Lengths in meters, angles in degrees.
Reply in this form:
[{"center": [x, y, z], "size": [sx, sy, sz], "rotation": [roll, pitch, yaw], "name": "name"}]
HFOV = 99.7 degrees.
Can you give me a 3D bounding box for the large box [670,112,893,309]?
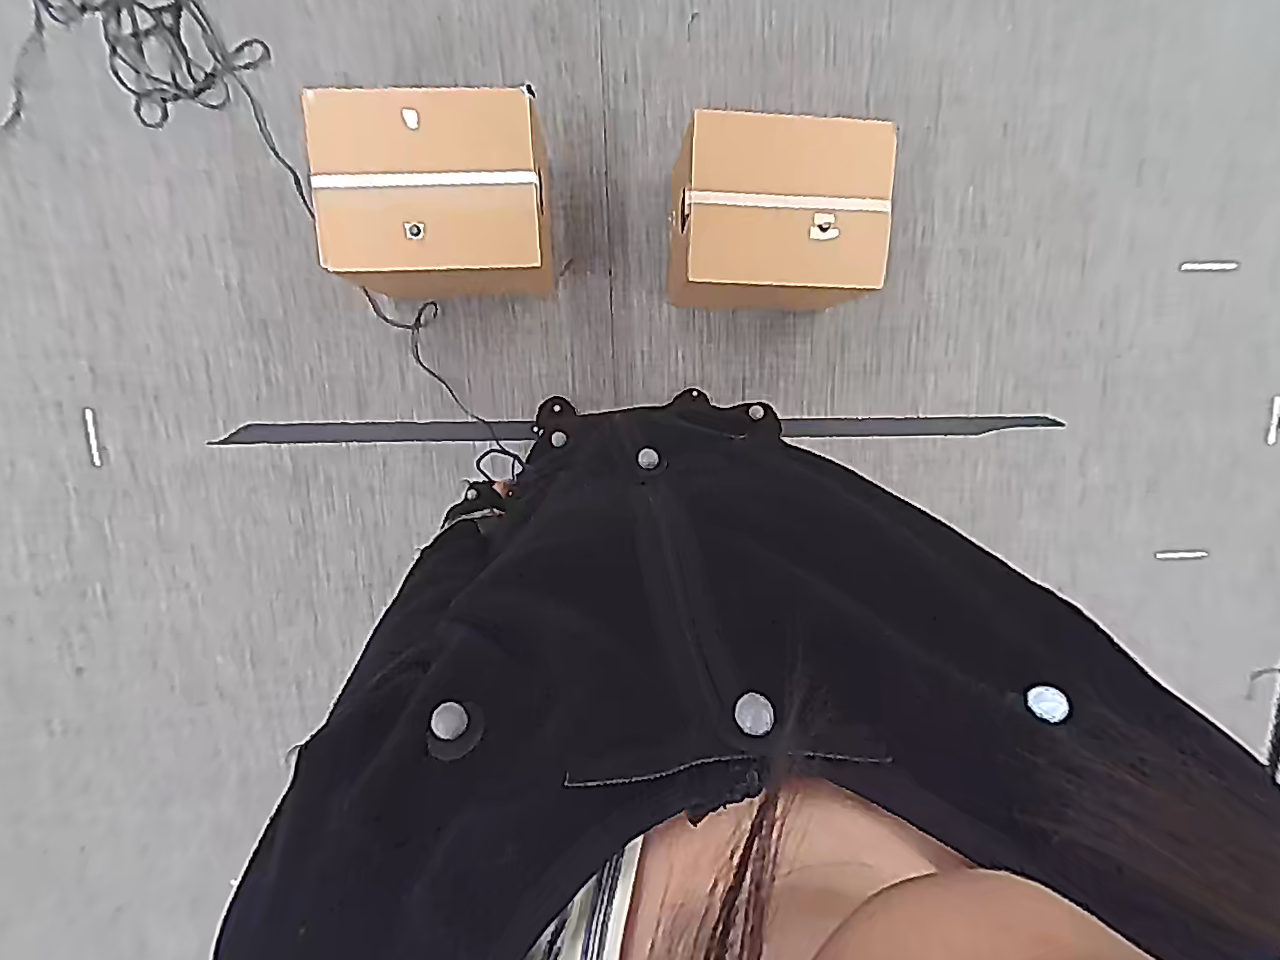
[{"center": [0.285, -0.570, 1.212], "size": [0.408, 0.320, 0.320], "rotation": [1, 100, -5], "name": "large box"}]
